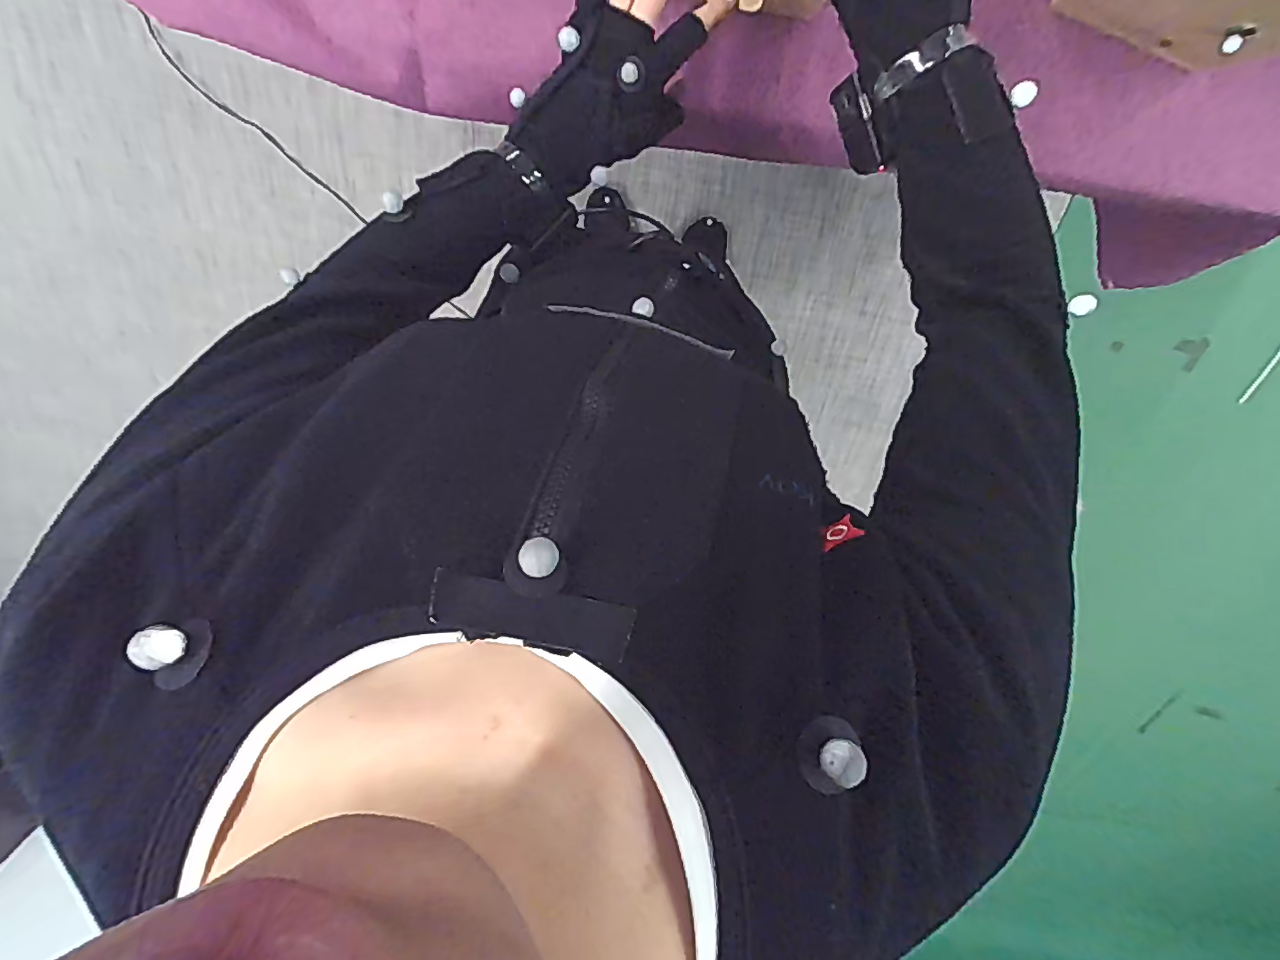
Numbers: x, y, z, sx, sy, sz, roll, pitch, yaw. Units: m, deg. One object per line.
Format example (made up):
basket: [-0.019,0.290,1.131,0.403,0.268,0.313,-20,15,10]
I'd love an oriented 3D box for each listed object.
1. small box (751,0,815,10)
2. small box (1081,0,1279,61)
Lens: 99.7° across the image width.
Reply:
small box: [0.091,-0.485,0.397,0.168,0.176,0.179,9,119,-2]
small box: [0.476,-0.446,0.394,0.168,0.176,0.179,18,118,-6]
